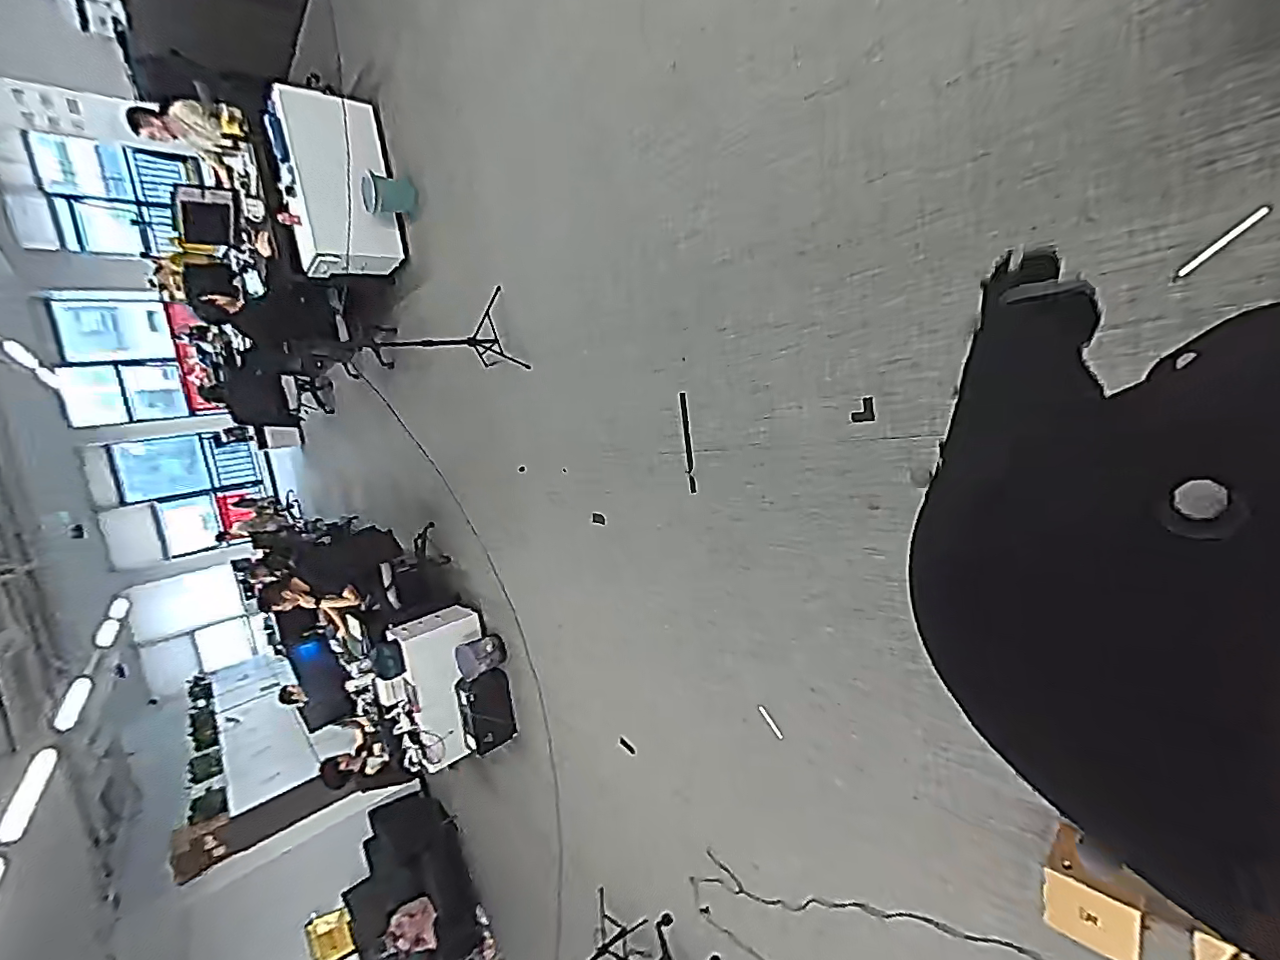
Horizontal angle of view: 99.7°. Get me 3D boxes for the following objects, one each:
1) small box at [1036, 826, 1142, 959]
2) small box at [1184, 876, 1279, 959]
[{"bbox_3d":[1.090,0.992,1.312,0.179,0.176,0.168,4,105,49],"label":"small box"},{"bbox_3d":[1.252,0.989,1.121,0.168,0.176,0.179,1,102,48],"label":"small box"}]
